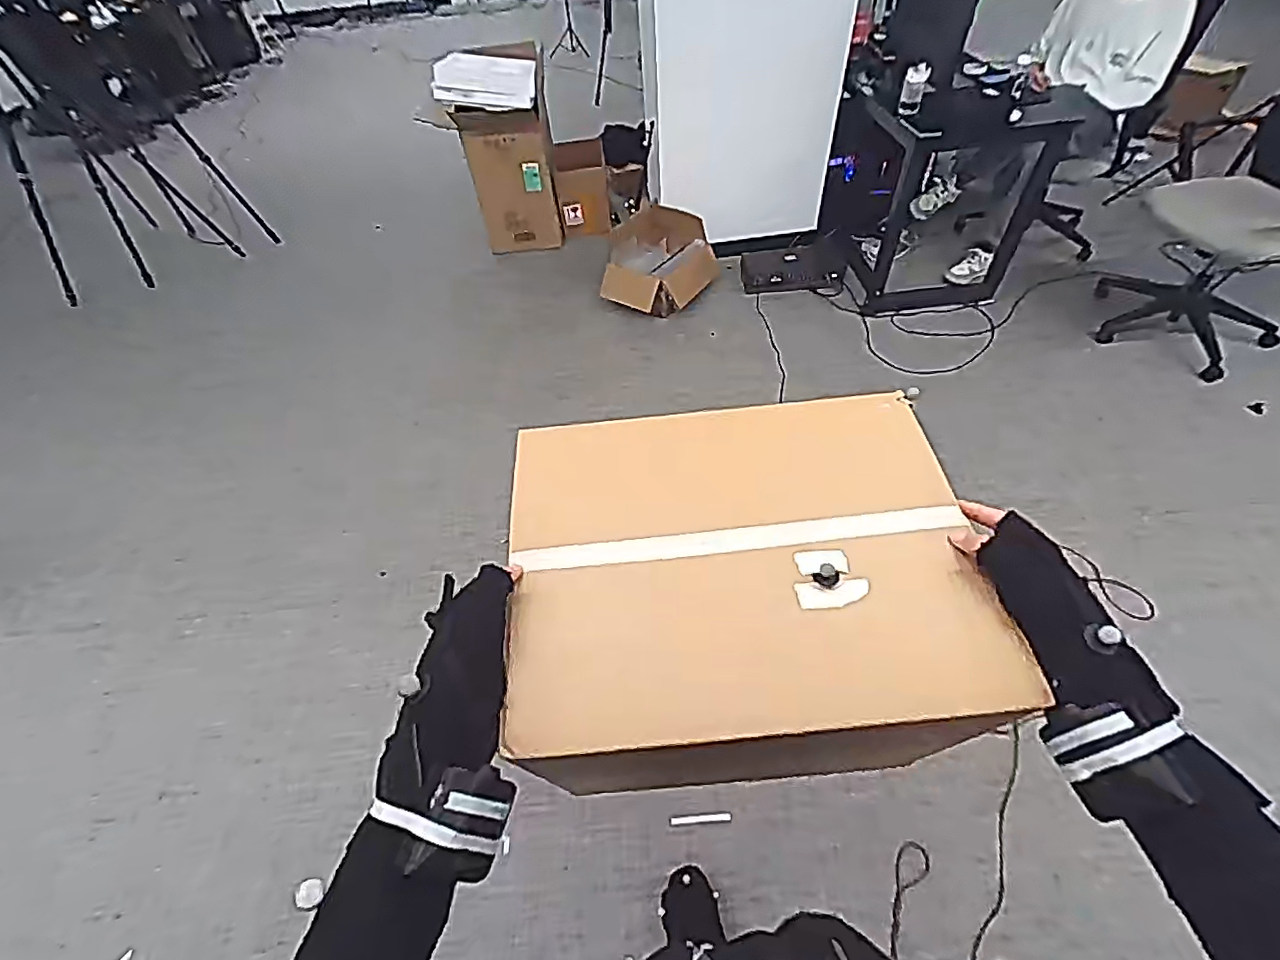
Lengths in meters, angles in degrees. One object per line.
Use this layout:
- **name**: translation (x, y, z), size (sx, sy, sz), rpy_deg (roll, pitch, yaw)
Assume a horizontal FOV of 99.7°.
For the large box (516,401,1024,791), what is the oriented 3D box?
- **large box**: translation (0.094, 0.144, 0.619), size (0.408, 0.320, 0.320), rpy_deg (-6, 55, 0)
